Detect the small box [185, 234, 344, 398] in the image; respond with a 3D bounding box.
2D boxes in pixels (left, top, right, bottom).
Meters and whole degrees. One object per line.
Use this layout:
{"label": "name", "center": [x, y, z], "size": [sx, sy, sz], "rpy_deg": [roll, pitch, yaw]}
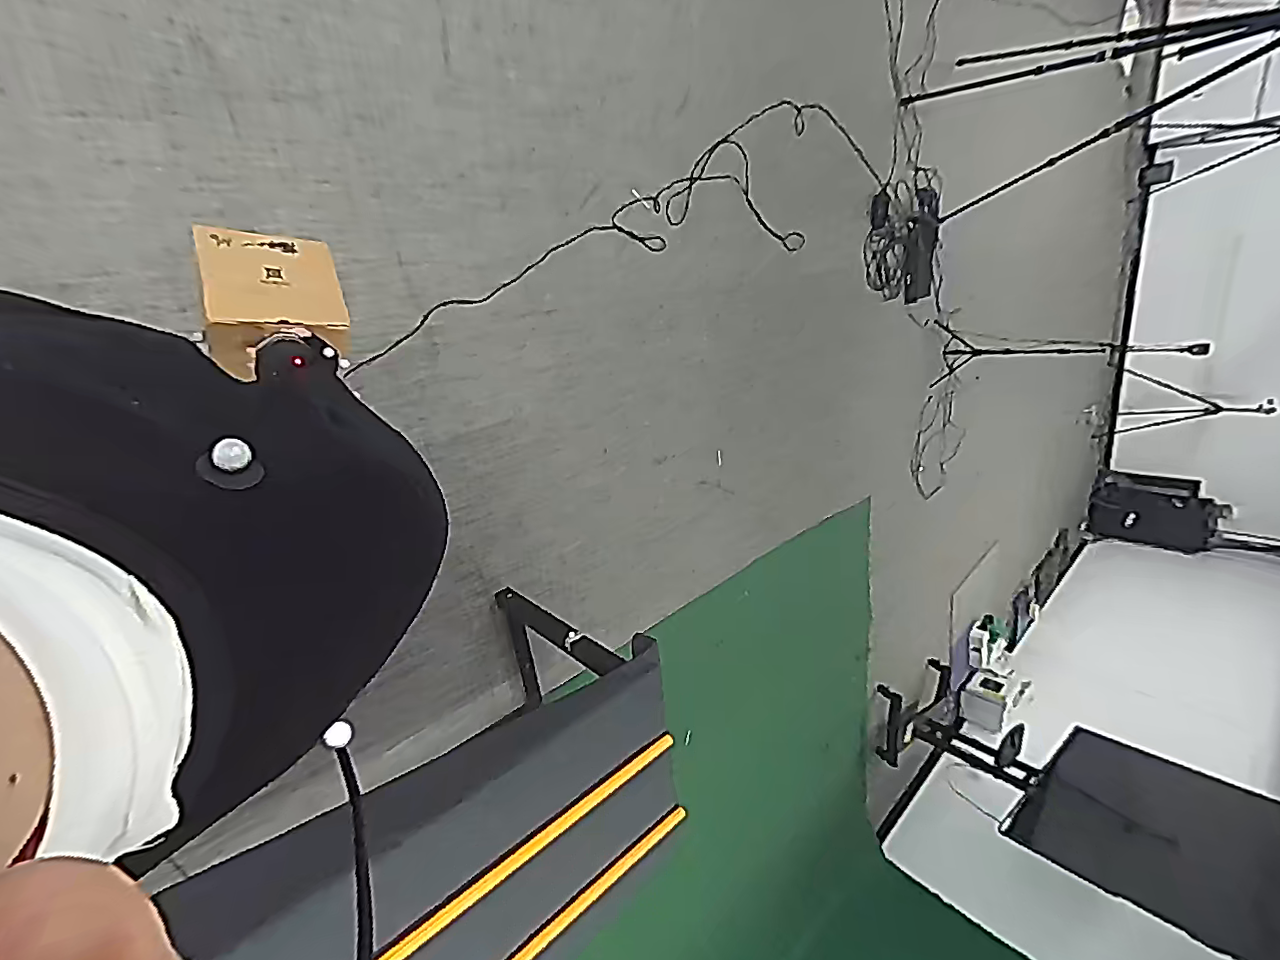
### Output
{"label": "small box", "center": [-0.558, -0.238, 0.818], "size": [0.168, 0.176, 0.179], "rpy_deg": [-13, 67, -36]}
